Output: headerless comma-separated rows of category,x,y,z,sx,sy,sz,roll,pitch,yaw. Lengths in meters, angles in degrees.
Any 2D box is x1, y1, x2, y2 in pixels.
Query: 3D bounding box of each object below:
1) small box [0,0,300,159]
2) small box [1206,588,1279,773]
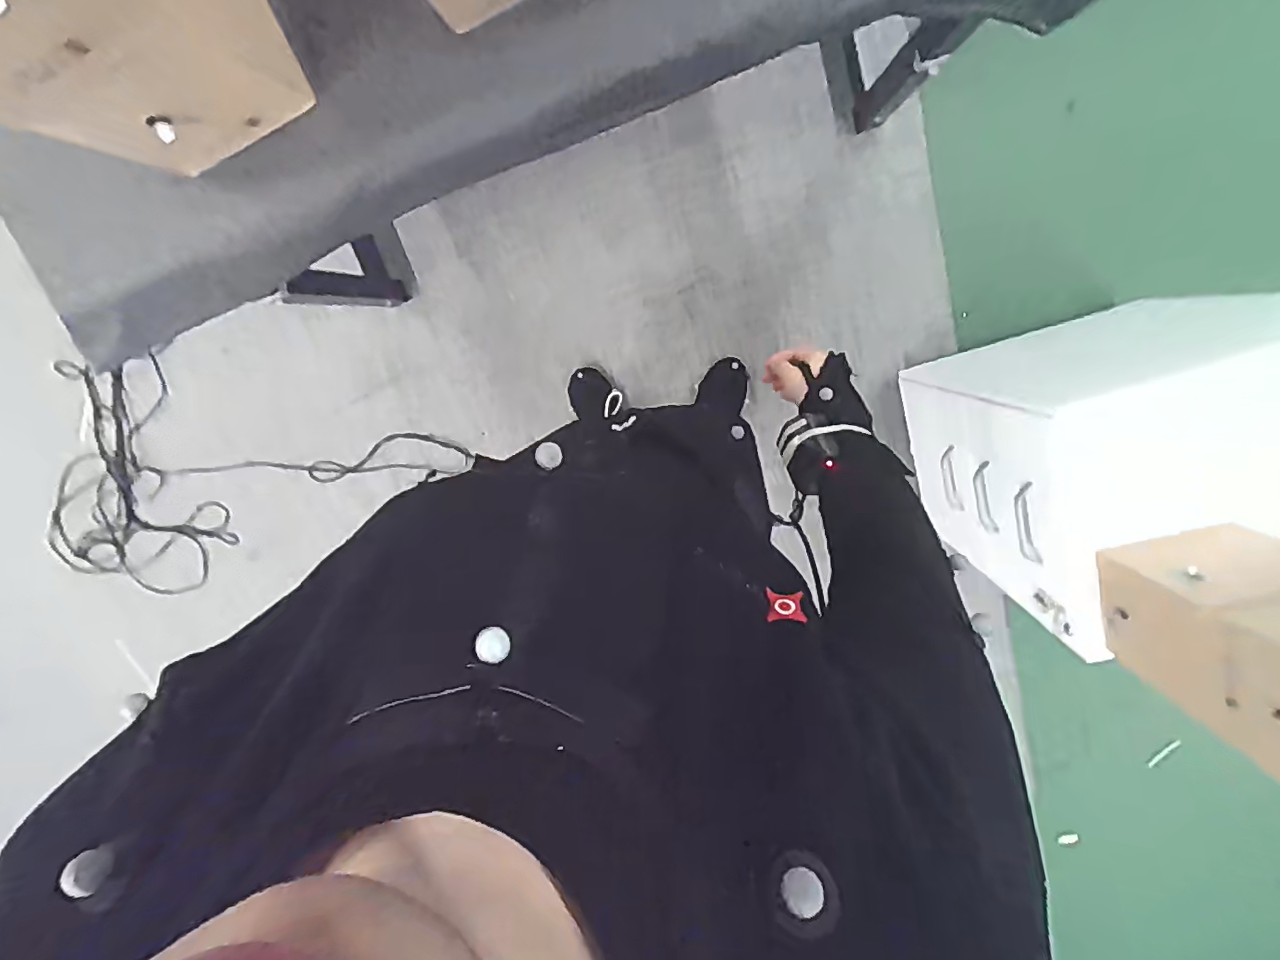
small box,-0.443,-0.404,0.460,0.168,0.176,0.179,-22,103,10
small box,0.716,0.212,0.528,0.179,0.176,0.168,-15,104,8
